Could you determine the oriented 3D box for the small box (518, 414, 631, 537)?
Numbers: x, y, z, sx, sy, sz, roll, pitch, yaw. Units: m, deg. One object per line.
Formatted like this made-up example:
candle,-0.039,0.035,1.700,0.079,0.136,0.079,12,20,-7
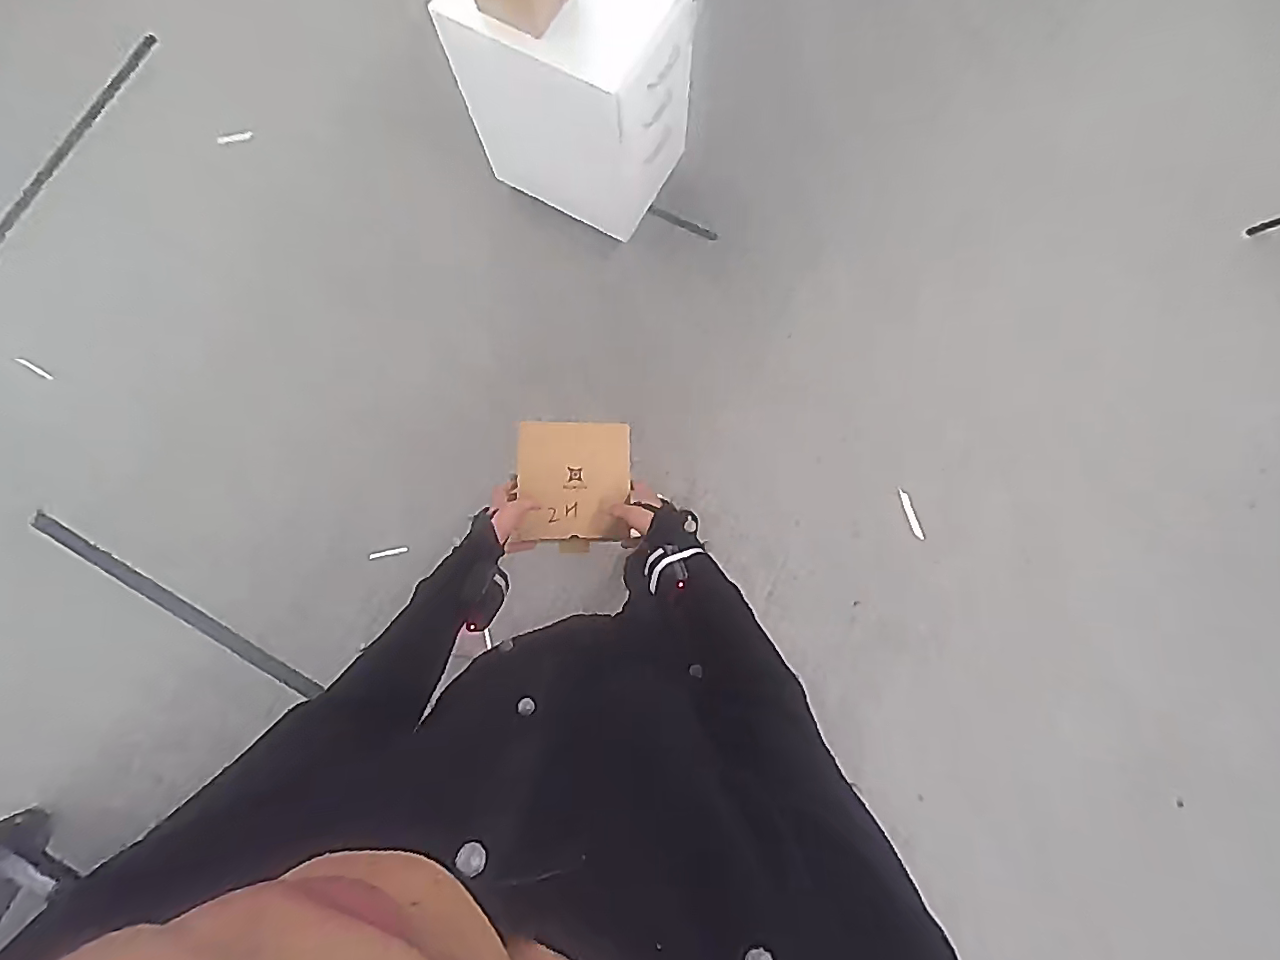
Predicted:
small box,-0.107,0.000,0.868,0.168,0.176,0.179,0,83,-8
